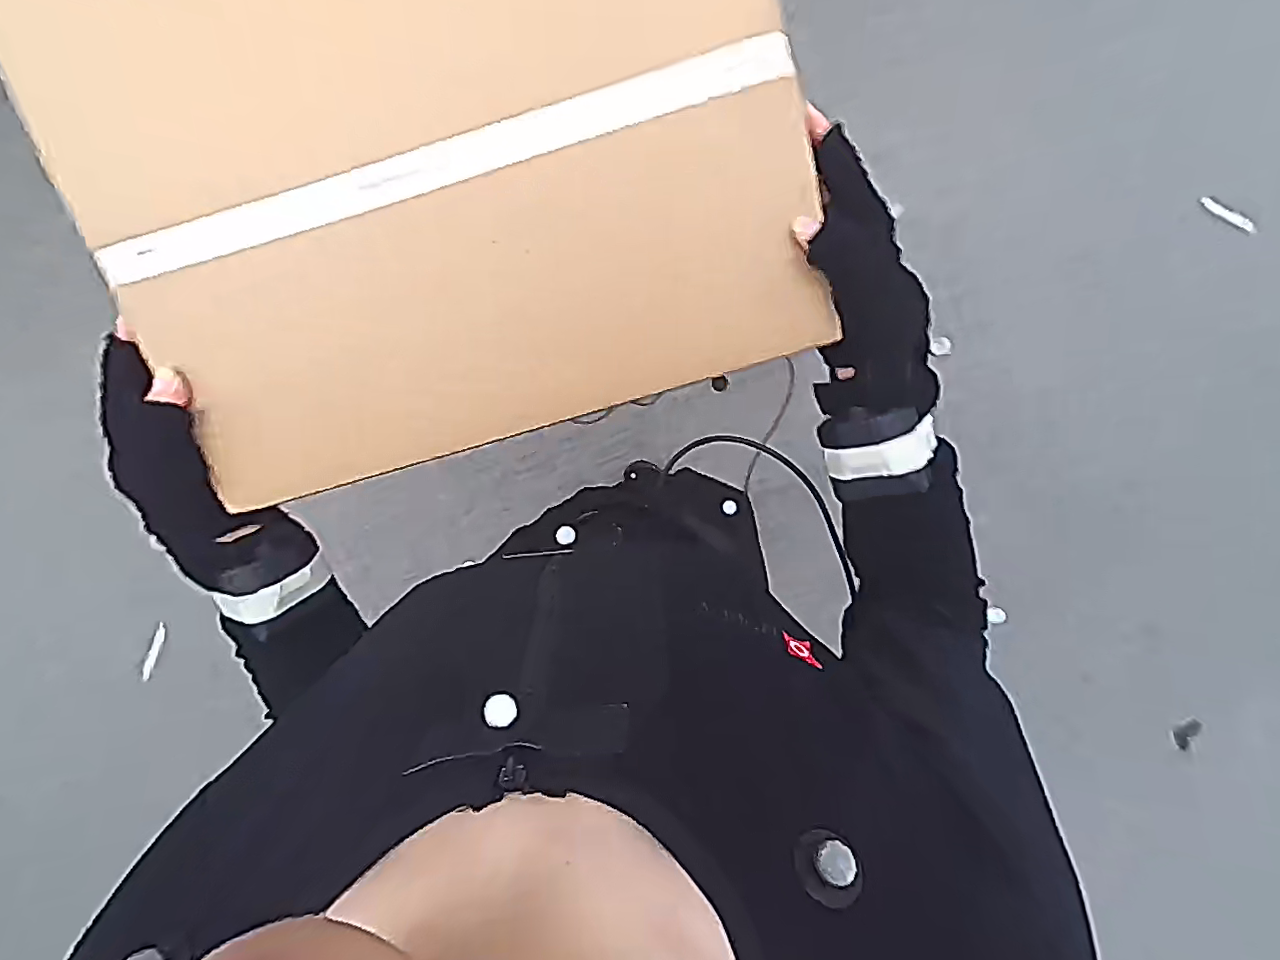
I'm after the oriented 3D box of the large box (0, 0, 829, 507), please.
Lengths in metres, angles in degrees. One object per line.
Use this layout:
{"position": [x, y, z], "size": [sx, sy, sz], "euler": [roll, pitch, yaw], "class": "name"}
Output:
{"position": [-0.112, -0.216, 0.457], "size": [0.408, 0.320, 0.320], "euler": [-15, 104, 3], "class": "large box"}
